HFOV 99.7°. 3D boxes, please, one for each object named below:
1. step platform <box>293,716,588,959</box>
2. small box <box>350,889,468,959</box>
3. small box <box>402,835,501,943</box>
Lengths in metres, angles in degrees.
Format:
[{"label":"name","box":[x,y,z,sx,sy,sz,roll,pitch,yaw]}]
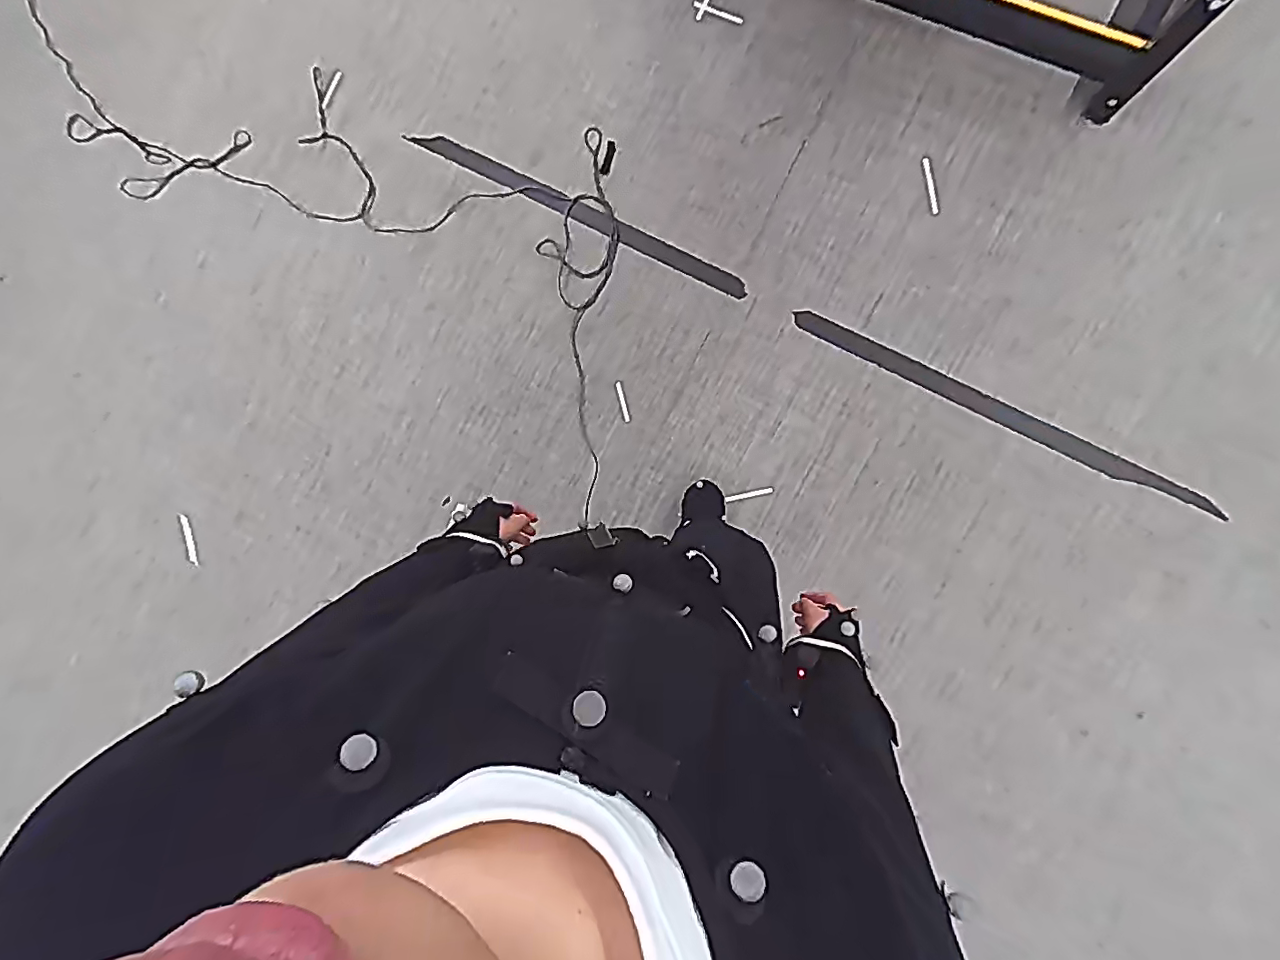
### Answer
[{"label":"step platform","box":[-0.481,0.891,1.323,0.684,0.204,0.286,27,92,6]},{"label":"small box","box":[-0.441,0.910,0.977,0.168,0.176,0.179,28,92,7]},{"label":"small box","box":[-0.421,0.909,1.140,0.168,0.176,0.179,29,92,6]}]
